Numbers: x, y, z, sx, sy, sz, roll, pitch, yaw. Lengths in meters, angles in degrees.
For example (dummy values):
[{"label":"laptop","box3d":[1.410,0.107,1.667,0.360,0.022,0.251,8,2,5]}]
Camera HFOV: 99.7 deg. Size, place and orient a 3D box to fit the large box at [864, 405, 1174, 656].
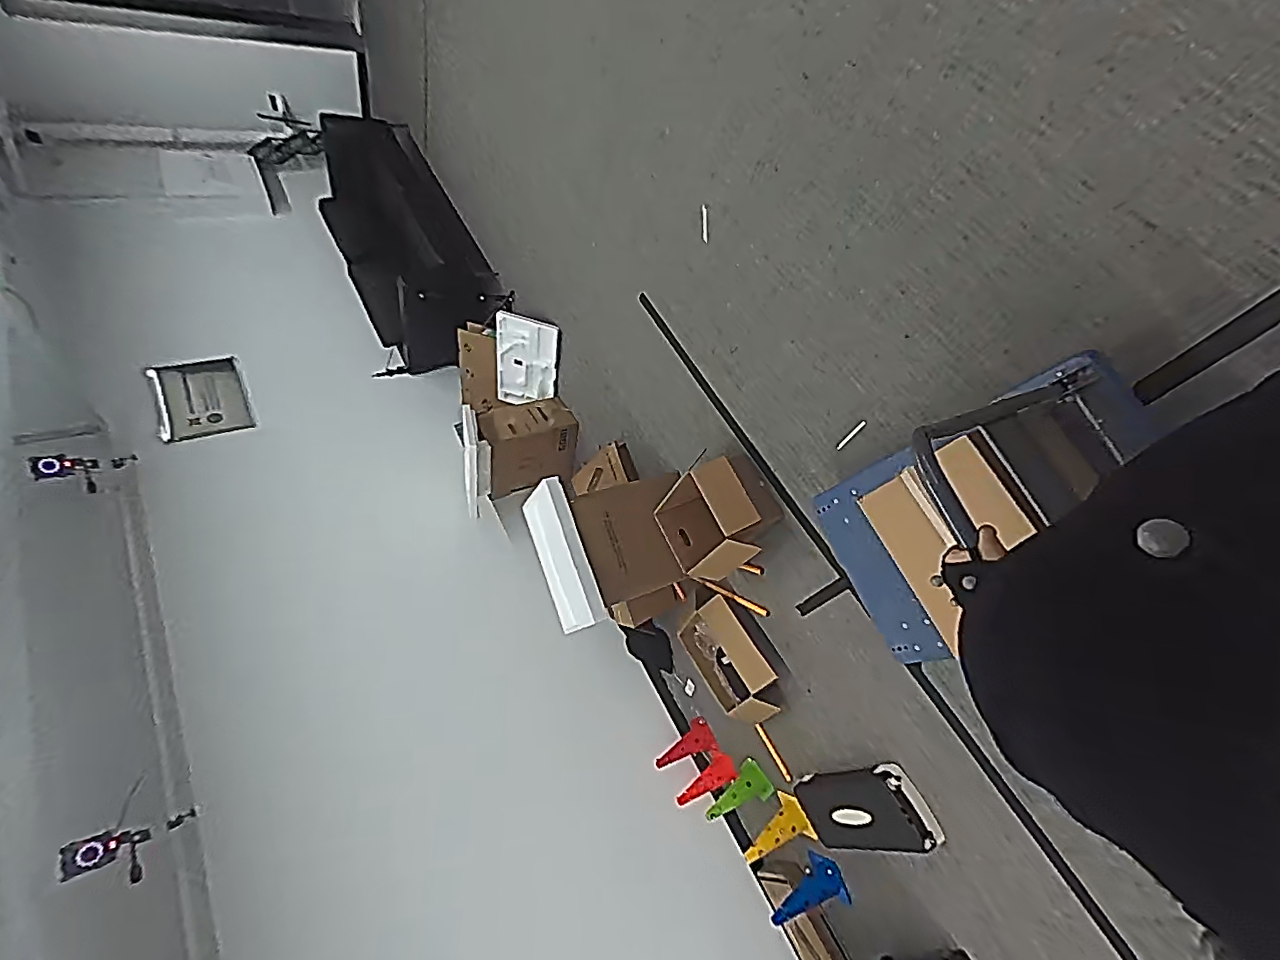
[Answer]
[{"label":"large box","box3d":[0.789,0.106,1.162,0.408,0.320,0.320,64,149,17]}]
